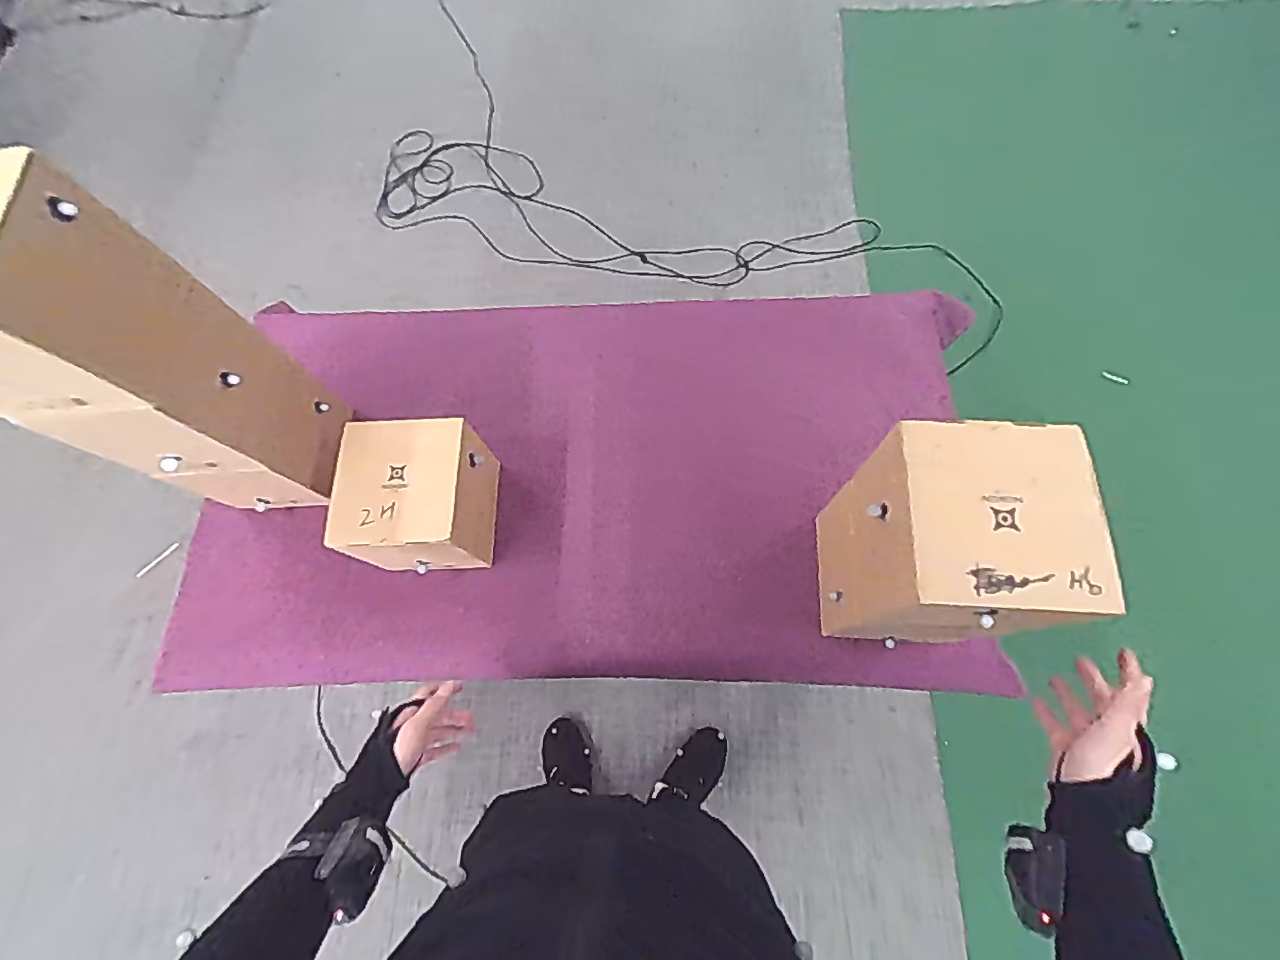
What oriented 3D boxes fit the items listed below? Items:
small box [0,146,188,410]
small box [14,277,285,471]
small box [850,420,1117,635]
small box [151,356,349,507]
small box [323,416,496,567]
[{"bbox_3d":[-0.593,-0.177,0.521,0.168,0.176,0.179,-4,70,3],"label":"small box"},{"bbox_3d":[-0.583,-0.123,0.674,0.168,0.176,0.179,-3,71,3],"label":"small box"},{"bbox_3d":[0.324,0.056,0.556,0.168,0.176,0.179,3,69,6],"label":"small box"},{"bbox_3d":[-0.576,-0.068,0.828,0.168,0.176,0.179,-3,71,3],"label":"small box"},{"bbox_3d":[-0.315,0.023,0.781,0.168,0.176,0.179,-2,71,3],"label":"small box"}]
